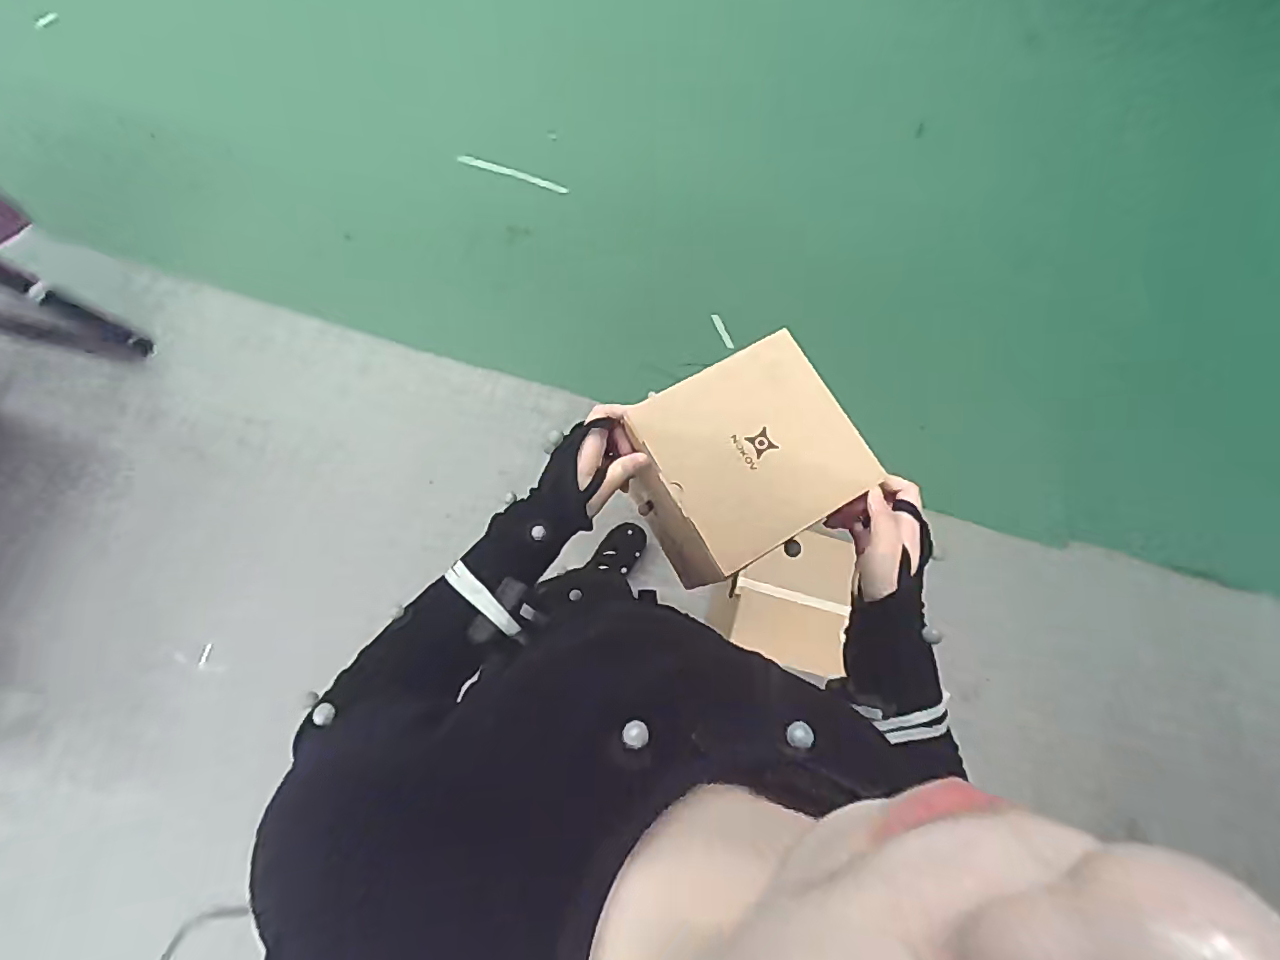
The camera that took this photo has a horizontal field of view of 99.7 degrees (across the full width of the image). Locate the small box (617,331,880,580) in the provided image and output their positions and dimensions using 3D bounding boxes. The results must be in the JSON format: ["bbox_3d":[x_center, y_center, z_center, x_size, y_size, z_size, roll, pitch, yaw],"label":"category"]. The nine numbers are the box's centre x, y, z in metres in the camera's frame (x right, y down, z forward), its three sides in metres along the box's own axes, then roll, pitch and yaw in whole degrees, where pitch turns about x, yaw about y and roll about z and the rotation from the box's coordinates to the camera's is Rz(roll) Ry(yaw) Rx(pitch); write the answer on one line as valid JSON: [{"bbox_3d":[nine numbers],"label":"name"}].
[{"bbox_3d":[0.090,-0.013,0.544,0.179,0.176,0.168,-30,82,-10],"label":"small box"}]

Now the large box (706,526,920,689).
[{"bbox_3d":[0.419,0.305,1.383,0.408,0.320,0.320,16,79,-1],"label":"large box"}]
